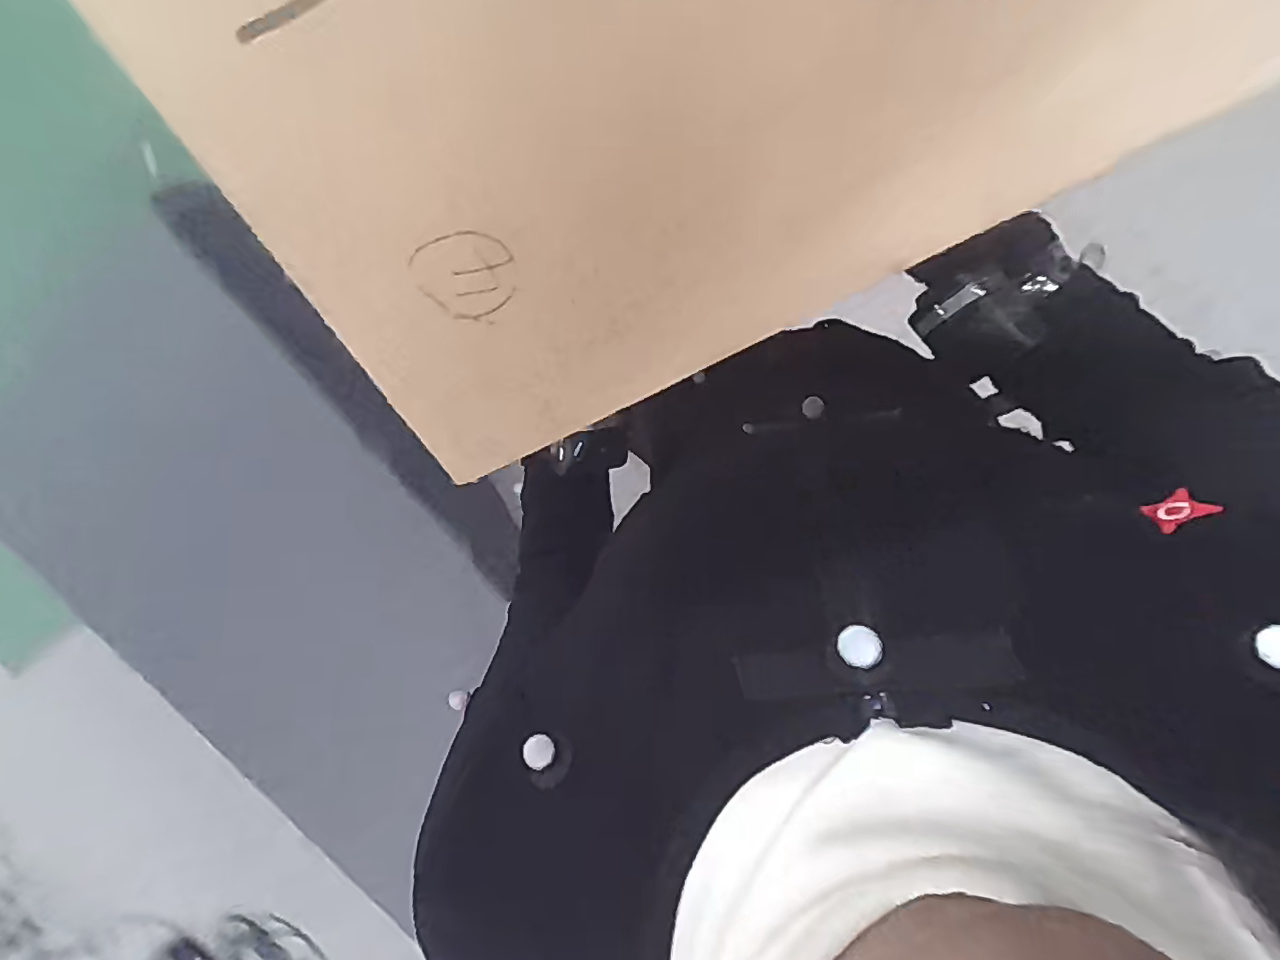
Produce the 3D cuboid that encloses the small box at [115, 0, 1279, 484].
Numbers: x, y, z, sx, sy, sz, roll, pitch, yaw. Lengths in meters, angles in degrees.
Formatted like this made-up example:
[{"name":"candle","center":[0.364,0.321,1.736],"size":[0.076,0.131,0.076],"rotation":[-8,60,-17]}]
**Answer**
[{"name":"small box","center":[0.005,-0.135,0.138],"size":[0.179,0.176,0.168],"rotation":[-26,116,15]}]
